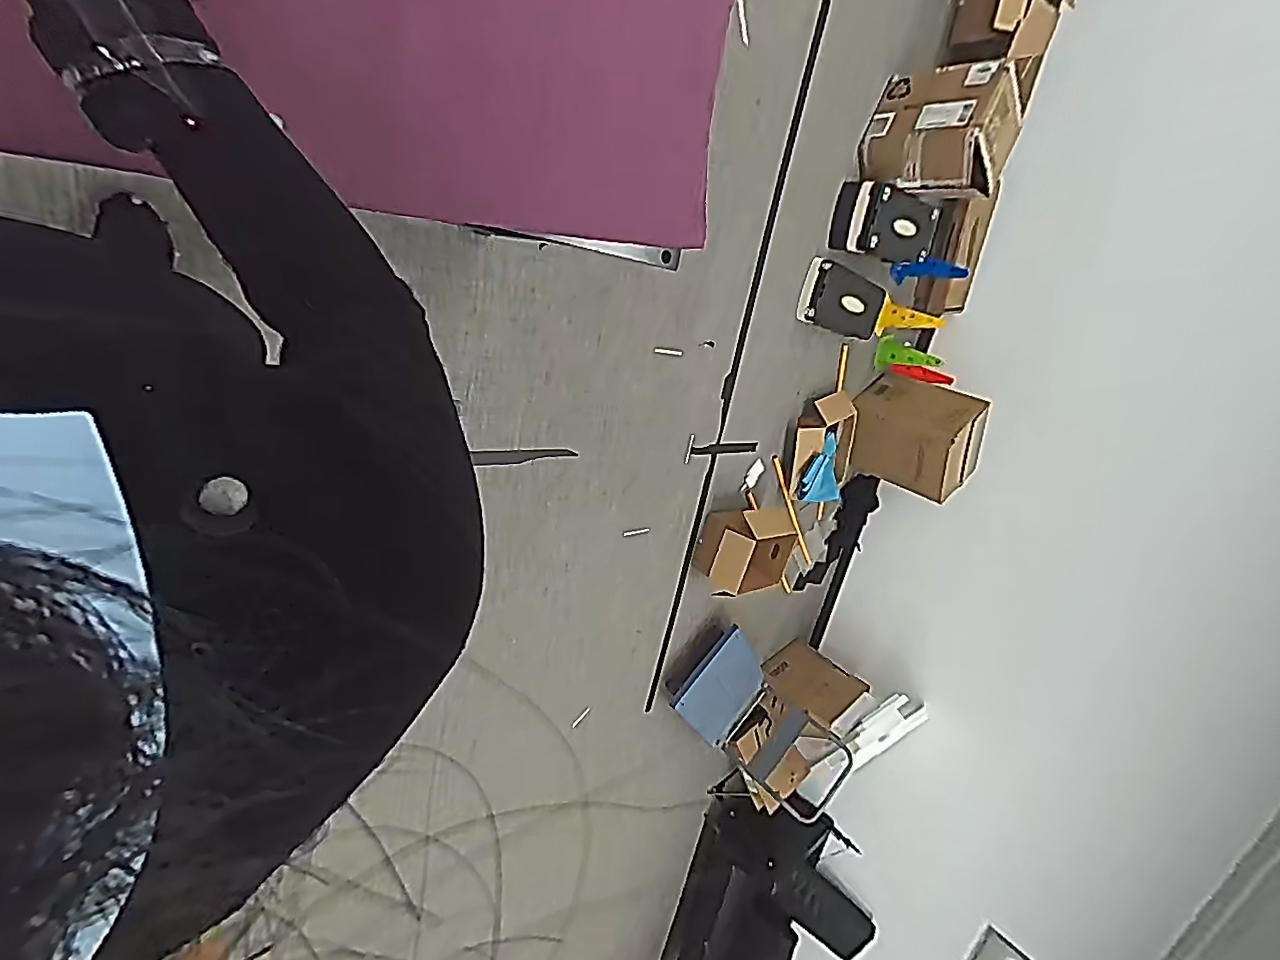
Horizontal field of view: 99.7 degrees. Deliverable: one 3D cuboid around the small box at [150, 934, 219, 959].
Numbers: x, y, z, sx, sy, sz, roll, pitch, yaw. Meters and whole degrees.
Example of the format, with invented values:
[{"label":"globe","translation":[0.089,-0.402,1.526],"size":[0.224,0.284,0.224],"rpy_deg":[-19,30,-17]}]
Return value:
[{"label":"small box","translation":[-1.391,1.540,1.643],"size":[0.168,0.176,0.179],"rpy_deg":[-3,114,-44]}]
